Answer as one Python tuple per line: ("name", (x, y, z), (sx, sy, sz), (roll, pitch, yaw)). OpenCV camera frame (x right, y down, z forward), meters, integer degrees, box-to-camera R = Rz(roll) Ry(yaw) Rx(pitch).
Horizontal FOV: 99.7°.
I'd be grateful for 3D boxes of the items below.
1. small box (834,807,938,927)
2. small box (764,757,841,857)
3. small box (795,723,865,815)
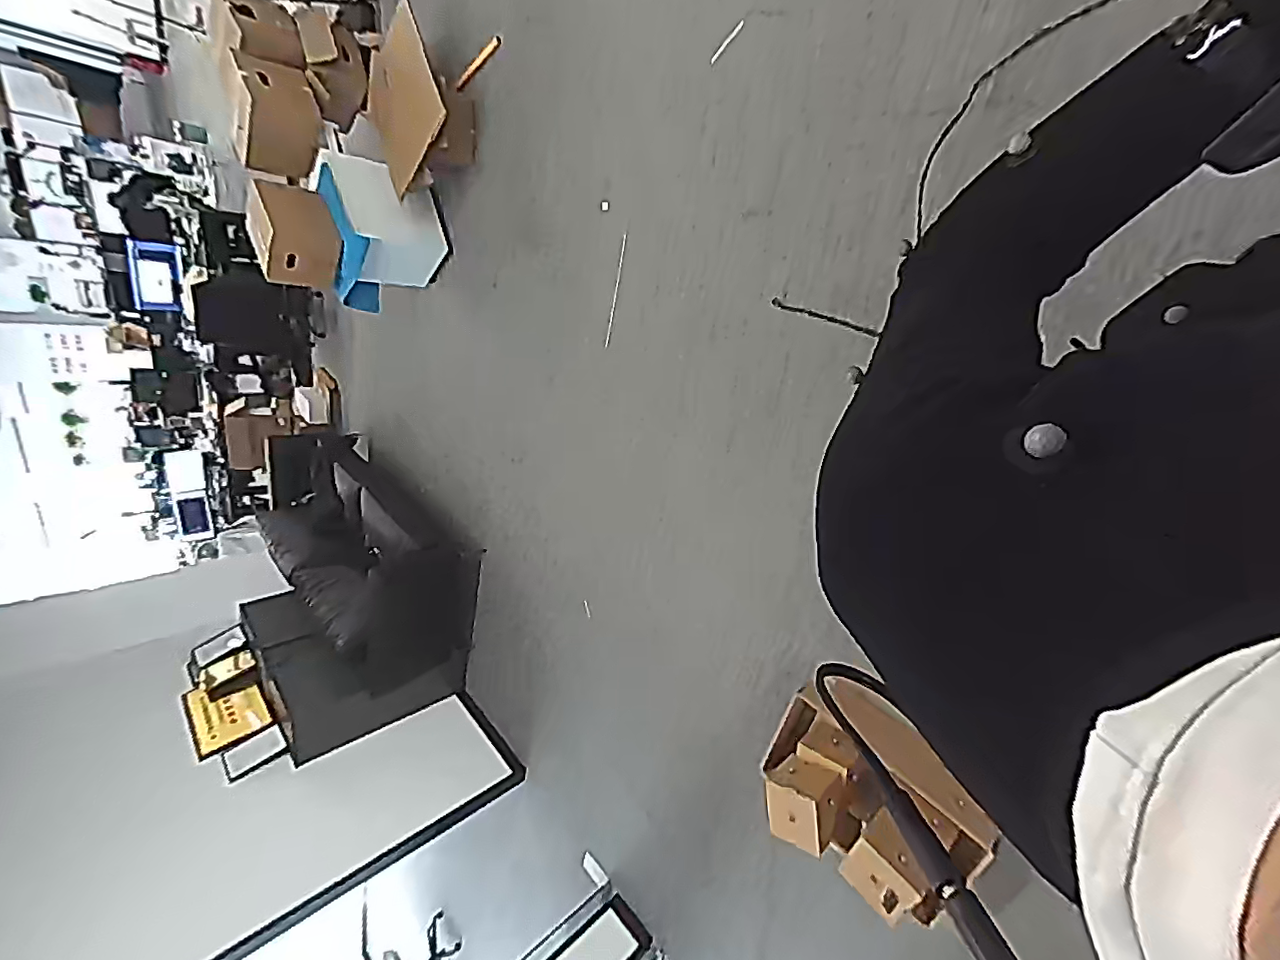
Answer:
("small box", (0.678, 1.052, 1.482), (0.179, 0.176, 0.168), (38, 124, 35))
("small box", (0.498, 0.985, 1.649), (0.168, 0.176, 0.179), (0, 99, 45))
("small box", (0.613, 0.930, 1.756), (0.168, 0.176, 0.179), (14, 108, 42))
